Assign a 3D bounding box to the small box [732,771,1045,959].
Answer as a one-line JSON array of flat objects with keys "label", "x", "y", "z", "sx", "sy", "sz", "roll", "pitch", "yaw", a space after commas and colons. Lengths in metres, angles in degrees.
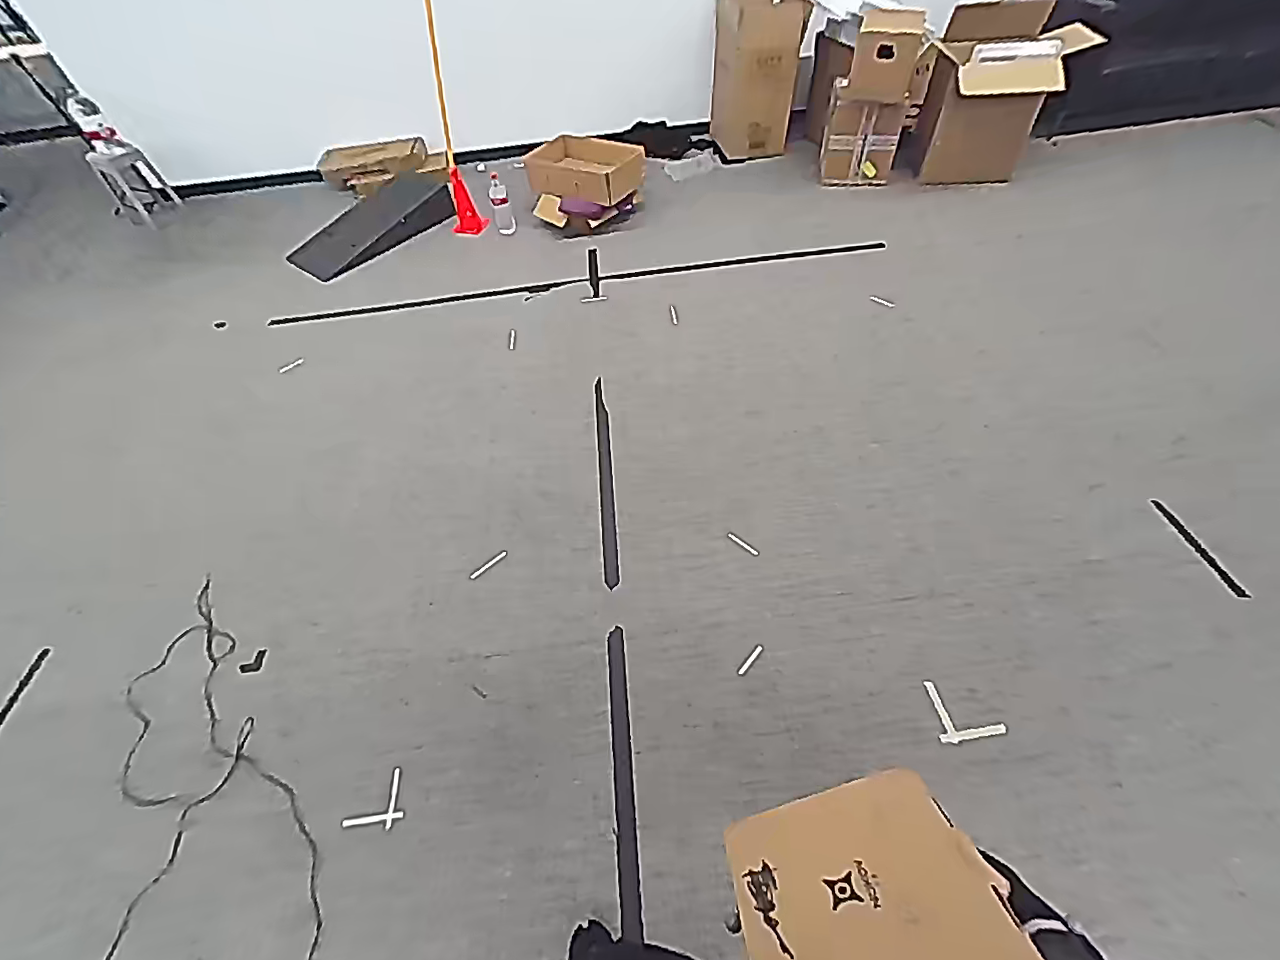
[{"label": "small box", "x": 0.190, "y": 0.375, "z": 0.420, "sx": 0.179, "sy": 0.176, "sz": 0.168, "roll": -20, "pitch": 13, "yaw": 4}]
